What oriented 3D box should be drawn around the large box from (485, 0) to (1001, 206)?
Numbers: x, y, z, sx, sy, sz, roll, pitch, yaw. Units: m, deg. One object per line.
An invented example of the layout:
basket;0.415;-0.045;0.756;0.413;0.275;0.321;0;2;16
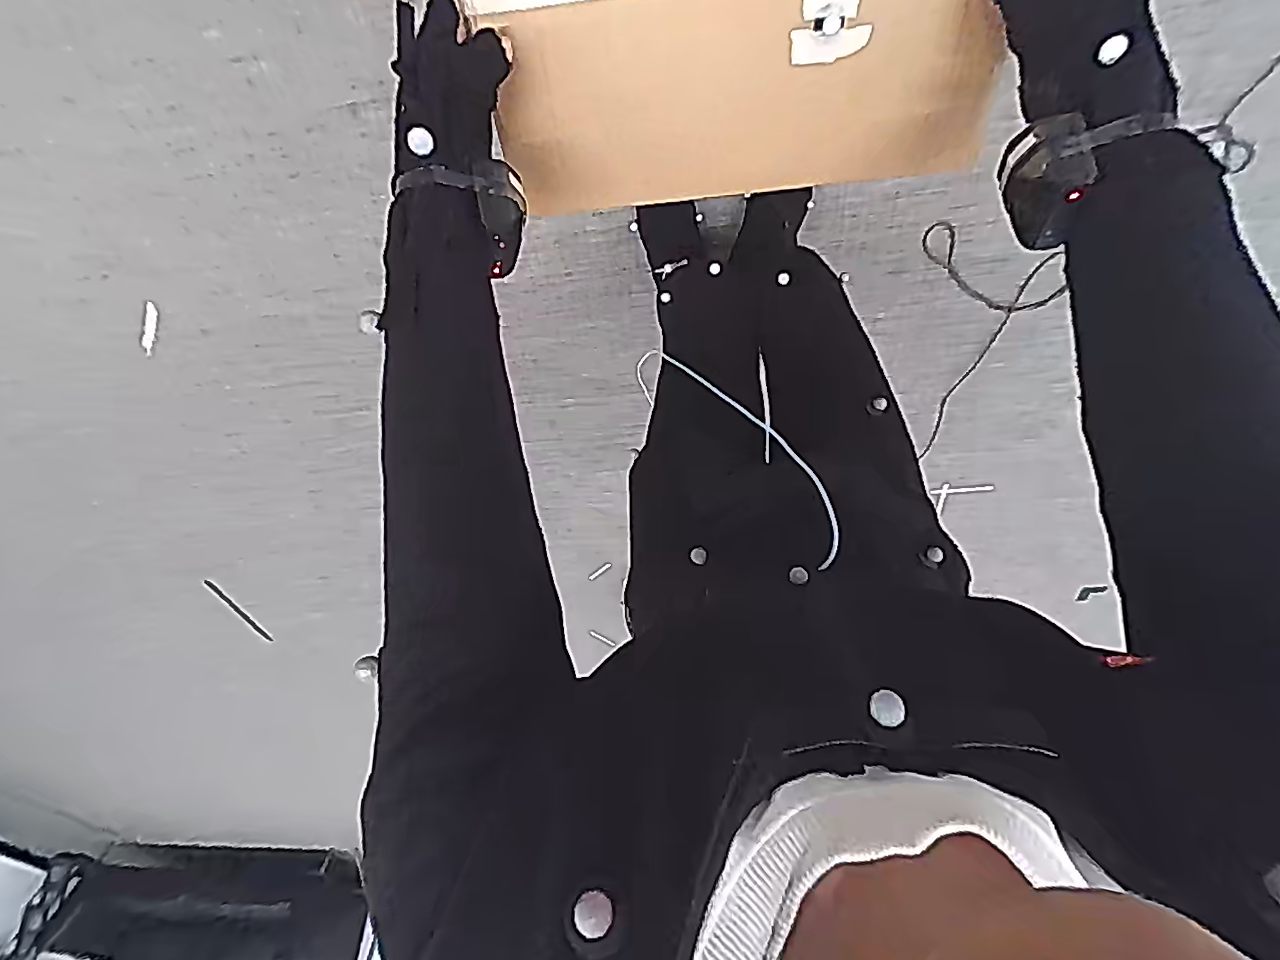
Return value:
large box;0.075;-0.490;0.506;0.408;0.320;0.320;-4;133;5
